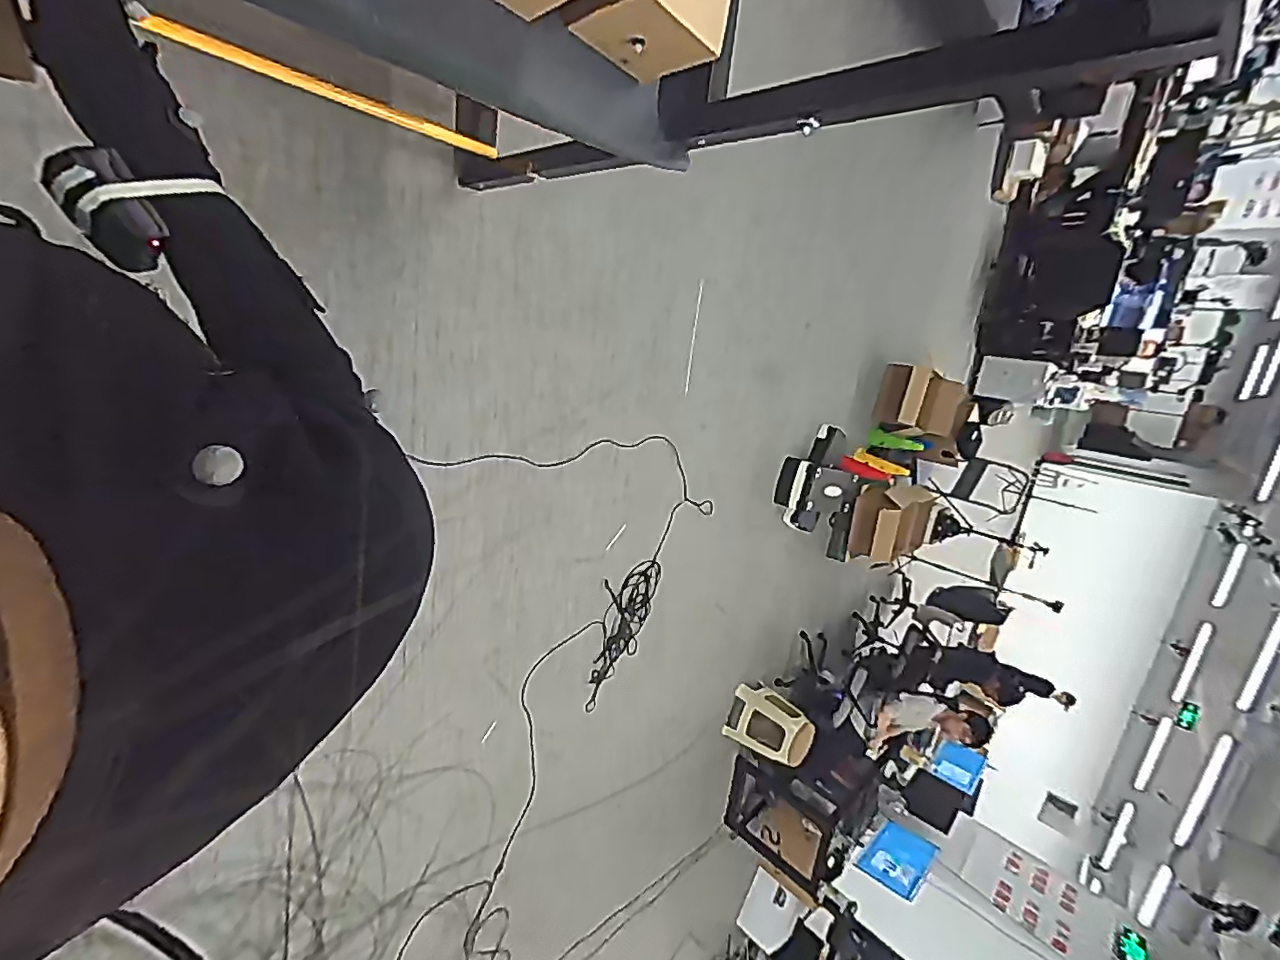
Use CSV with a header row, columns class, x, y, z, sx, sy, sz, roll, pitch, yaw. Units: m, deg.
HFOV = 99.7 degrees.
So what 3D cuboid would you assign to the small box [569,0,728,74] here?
class,x,y,z,sx,sy,sz,roll,pitch,yaw
small box,0.017,-0.729,0.778,0.168,0.176,0.179,-2,107,-47
